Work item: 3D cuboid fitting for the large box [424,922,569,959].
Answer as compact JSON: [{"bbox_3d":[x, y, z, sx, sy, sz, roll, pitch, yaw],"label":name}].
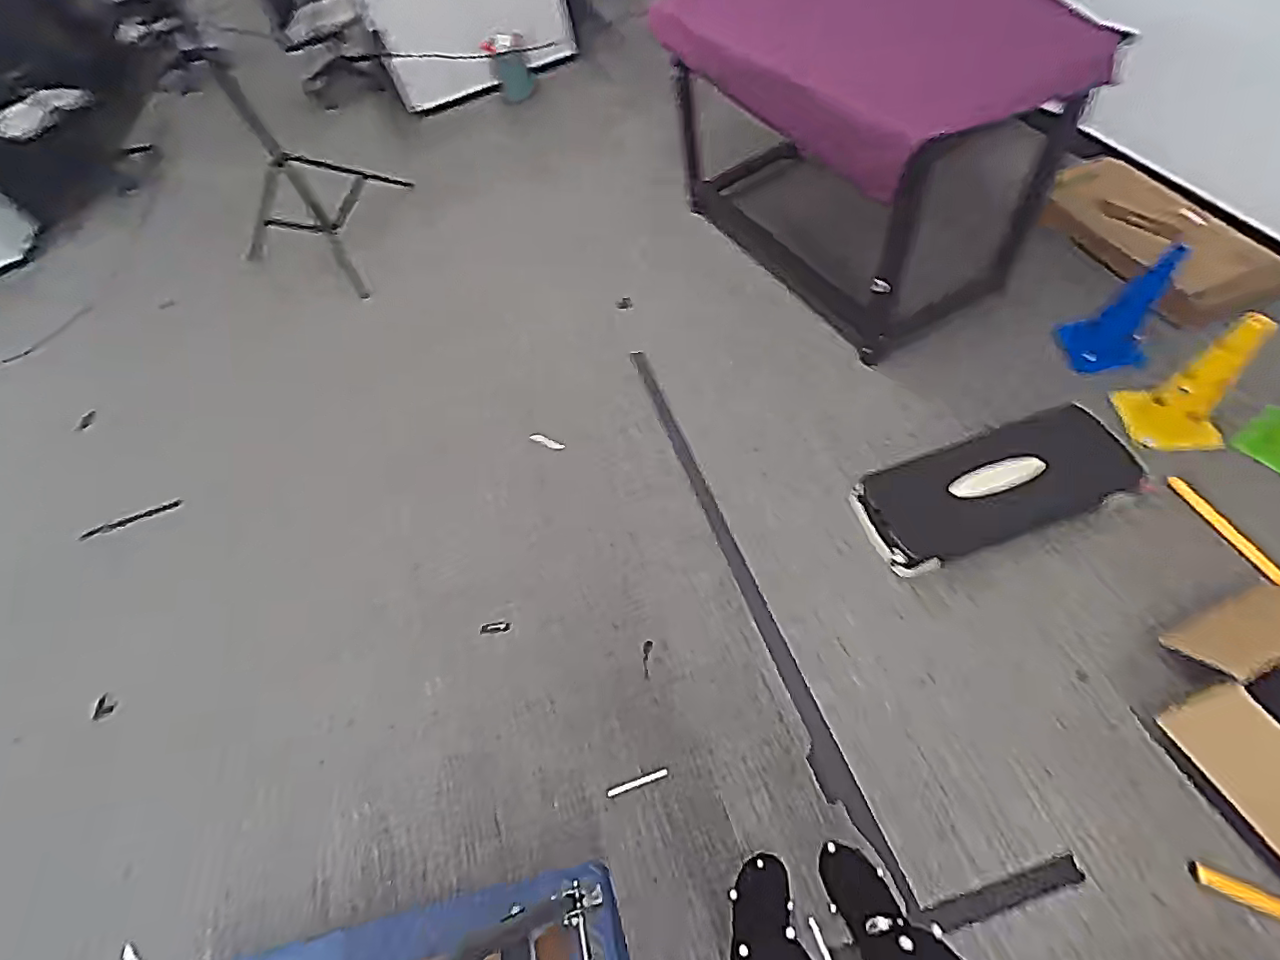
[{"bbox_3d":[-0.271,0.980,0.819,0.320,0.320,0.408,-16,57,1],"label":"large box"}]
